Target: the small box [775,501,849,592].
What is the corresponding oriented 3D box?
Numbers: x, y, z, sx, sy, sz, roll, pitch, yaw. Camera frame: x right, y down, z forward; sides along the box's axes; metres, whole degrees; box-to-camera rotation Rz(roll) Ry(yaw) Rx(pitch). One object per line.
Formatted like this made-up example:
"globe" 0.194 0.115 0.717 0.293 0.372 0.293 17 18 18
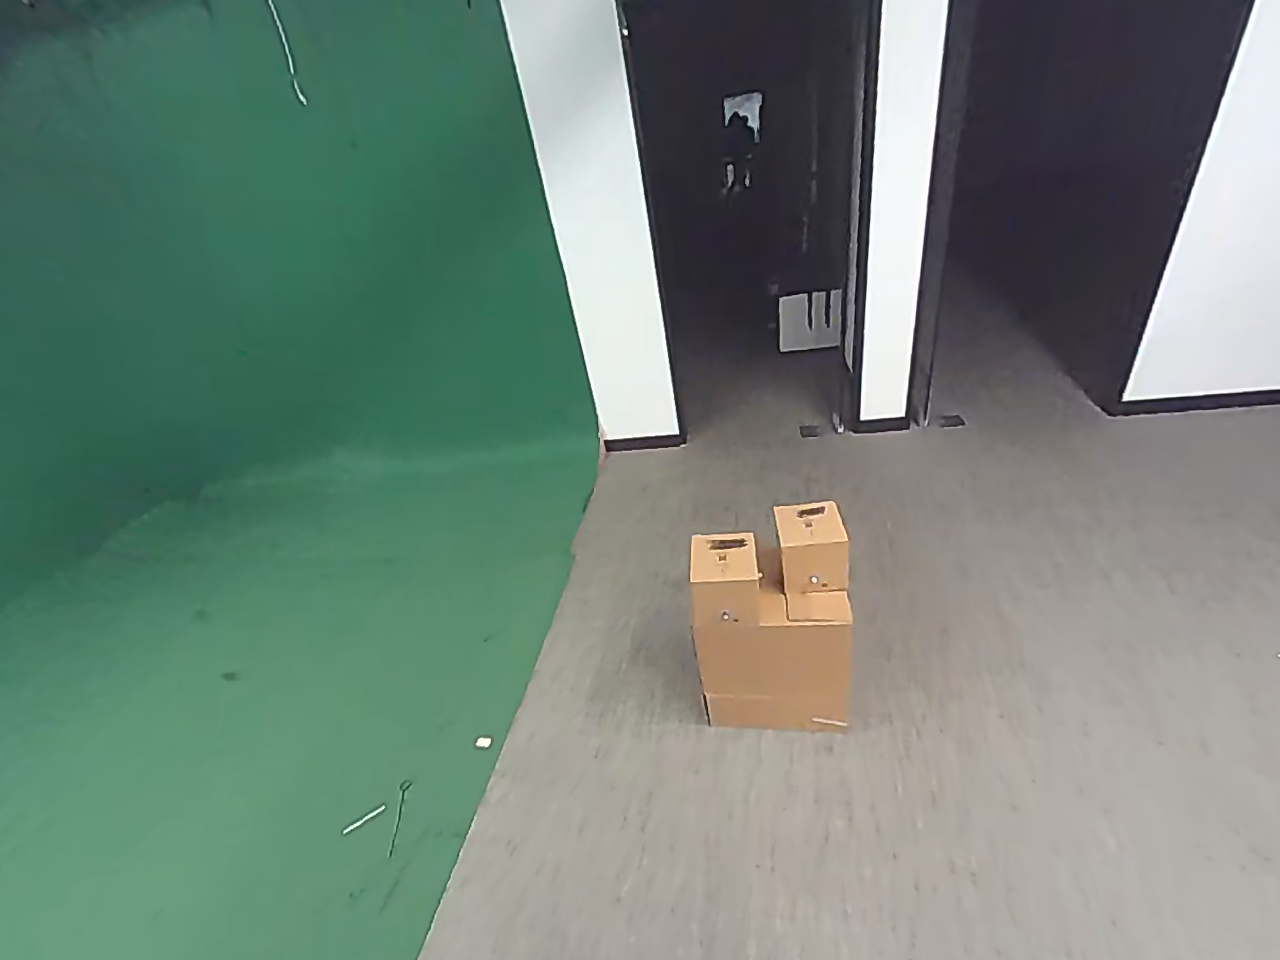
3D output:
"small box" 0.462 0.180 1.468 0.168 0.176 0.179 -7 33 11
